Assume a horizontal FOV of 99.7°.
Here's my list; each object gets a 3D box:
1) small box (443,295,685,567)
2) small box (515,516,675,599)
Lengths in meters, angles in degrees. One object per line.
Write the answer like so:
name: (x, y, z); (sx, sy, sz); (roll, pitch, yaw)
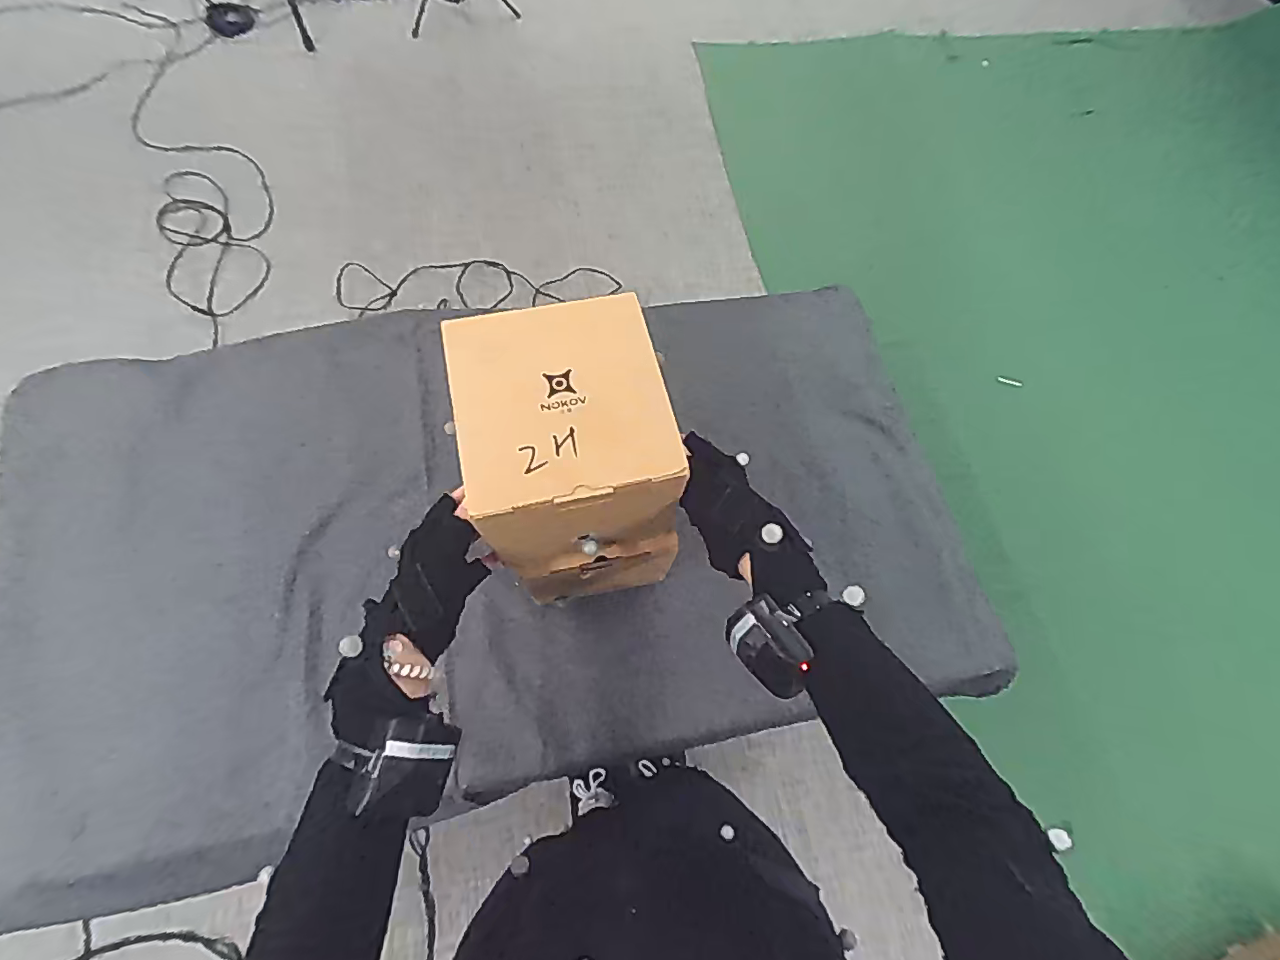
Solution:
small box: (-0.069, -0.036, 0.495); (0.168, 0.176, 0.179); (-12, 69, -8)
small box: (-0.062, 0.037, 0.645); (0.168, 0.176, 0.179); (-10, 68, -8)
